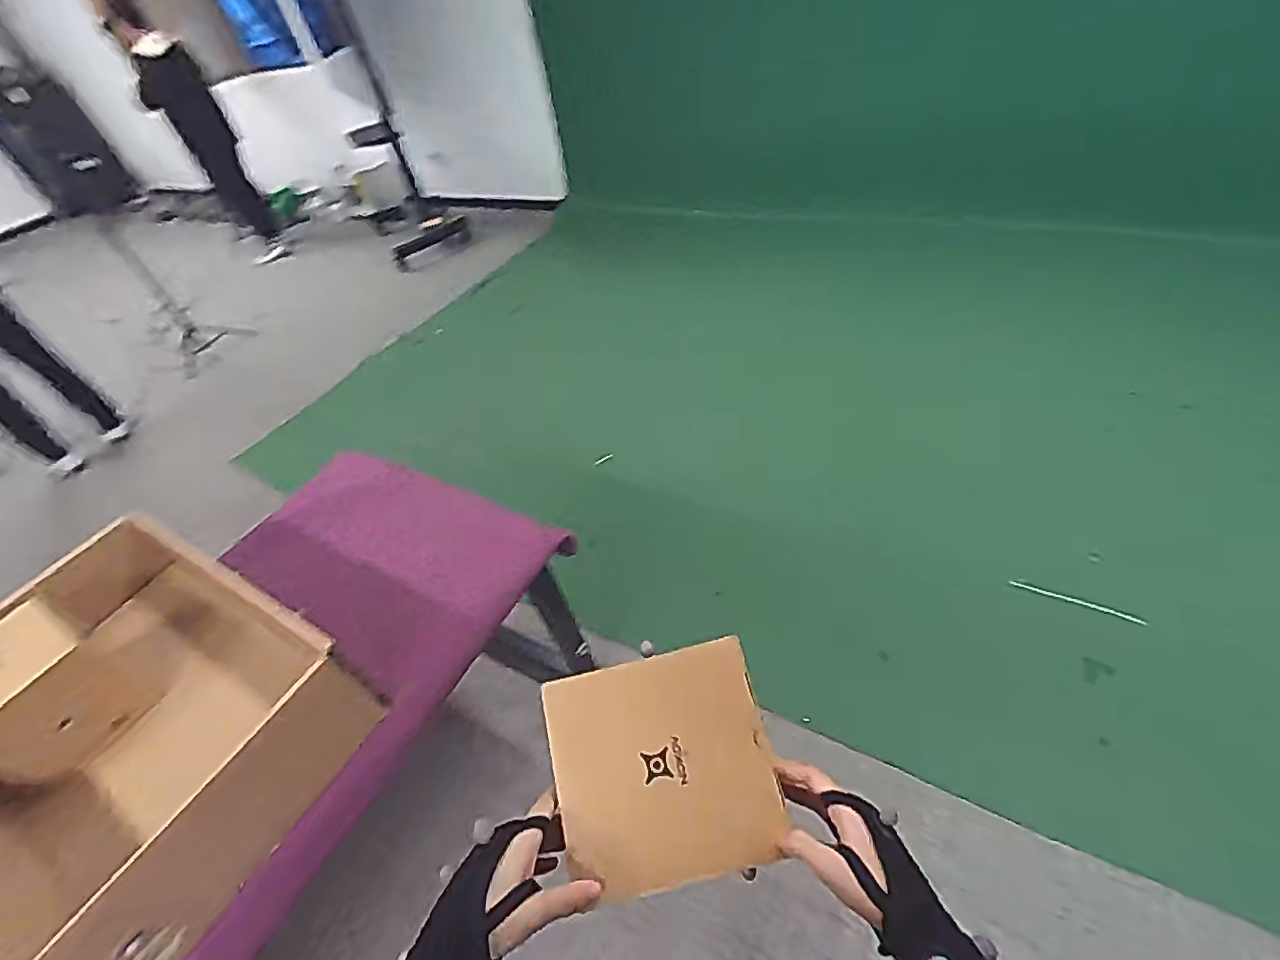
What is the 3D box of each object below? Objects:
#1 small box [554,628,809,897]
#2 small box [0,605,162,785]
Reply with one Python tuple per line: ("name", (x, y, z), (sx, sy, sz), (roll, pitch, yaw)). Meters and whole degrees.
("small box", (0.032, 0.250, 0.506), (0.179, 0.176, 0.168), (-13, 67, -3))
("small box", (-0.878, 0.322, 0.802), (0.179, 0.176, 0.168), (18, 53, 26))
